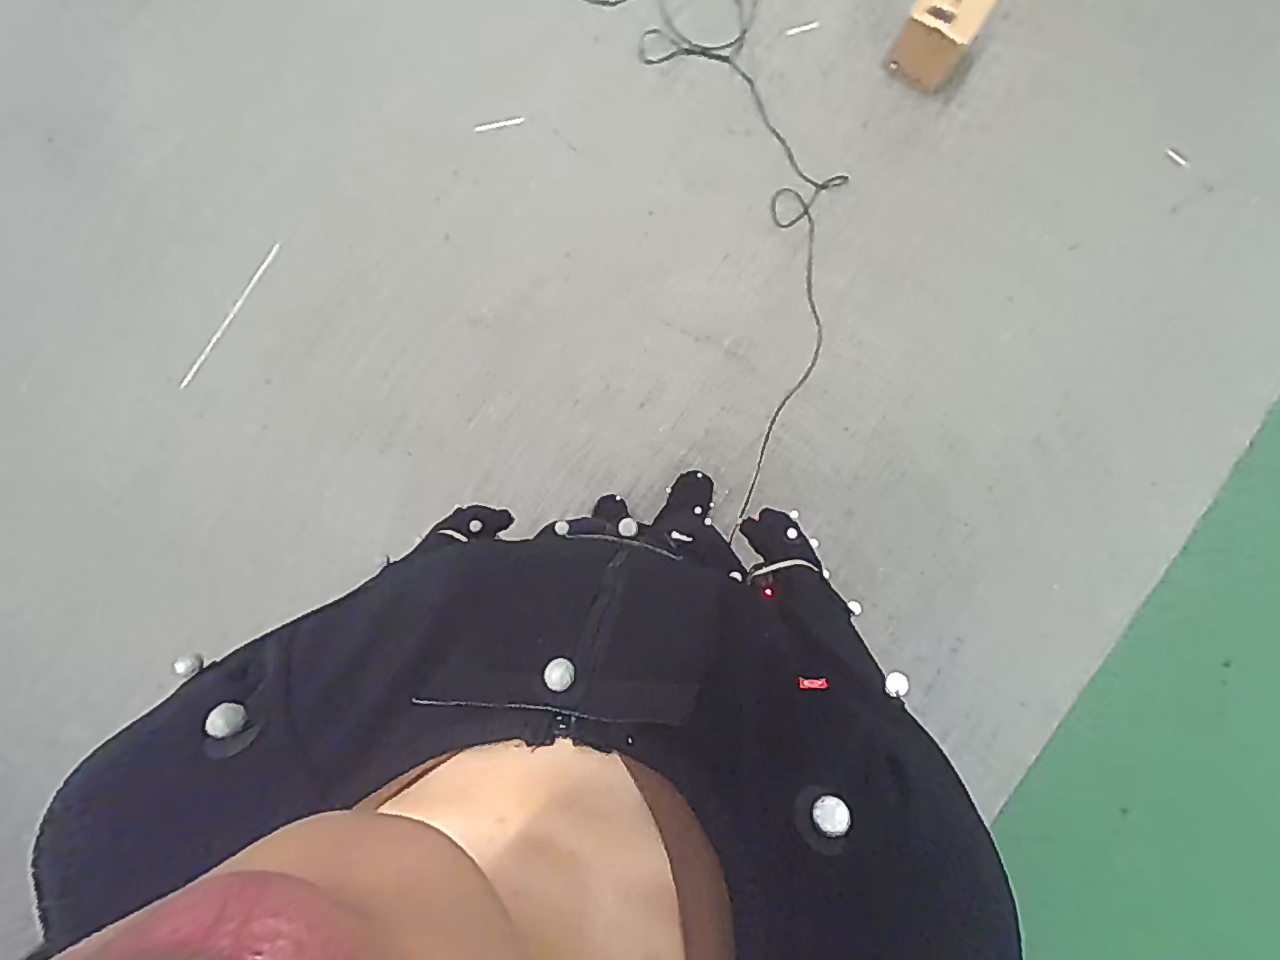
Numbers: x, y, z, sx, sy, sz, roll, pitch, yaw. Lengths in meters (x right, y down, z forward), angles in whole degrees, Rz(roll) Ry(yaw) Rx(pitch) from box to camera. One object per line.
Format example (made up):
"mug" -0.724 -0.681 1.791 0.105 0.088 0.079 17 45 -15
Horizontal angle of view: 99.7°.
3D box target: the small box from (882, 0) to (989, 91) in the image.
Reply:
"small box" 0.769 -1.184 1.421 0.168 0.176 0.179 31 89 0
